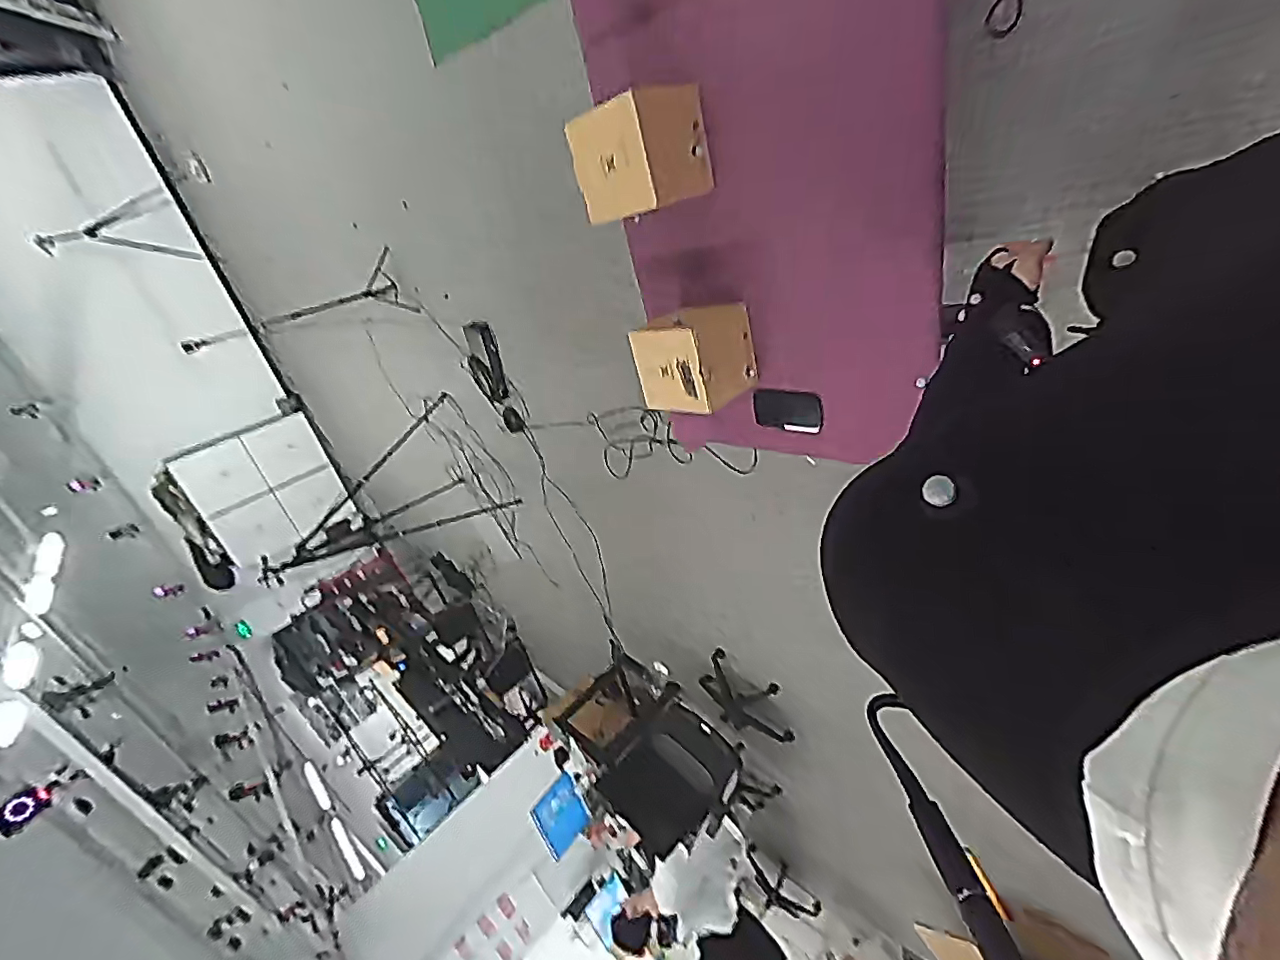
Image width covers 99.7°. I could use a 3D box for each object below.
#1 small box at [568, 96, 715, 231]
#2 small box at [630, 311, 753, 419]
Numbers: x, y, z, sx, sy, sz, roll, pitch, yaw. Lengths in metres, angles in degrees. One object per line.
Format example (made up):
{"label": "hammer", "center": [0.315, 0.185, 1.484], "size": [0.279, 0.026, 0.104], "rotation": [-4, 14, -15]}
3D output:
{"label": "small box", "center": [0.006, -0.560, 0.965], "size": [0.179, 0.176, 0.168], "rotation": [12, 128, 45]}
{"label": "small box", "center": [0.113, -0.238, 1.100], "size": [0.179, 0.176, 0.168], "rotation": [13, 127, 46]}
